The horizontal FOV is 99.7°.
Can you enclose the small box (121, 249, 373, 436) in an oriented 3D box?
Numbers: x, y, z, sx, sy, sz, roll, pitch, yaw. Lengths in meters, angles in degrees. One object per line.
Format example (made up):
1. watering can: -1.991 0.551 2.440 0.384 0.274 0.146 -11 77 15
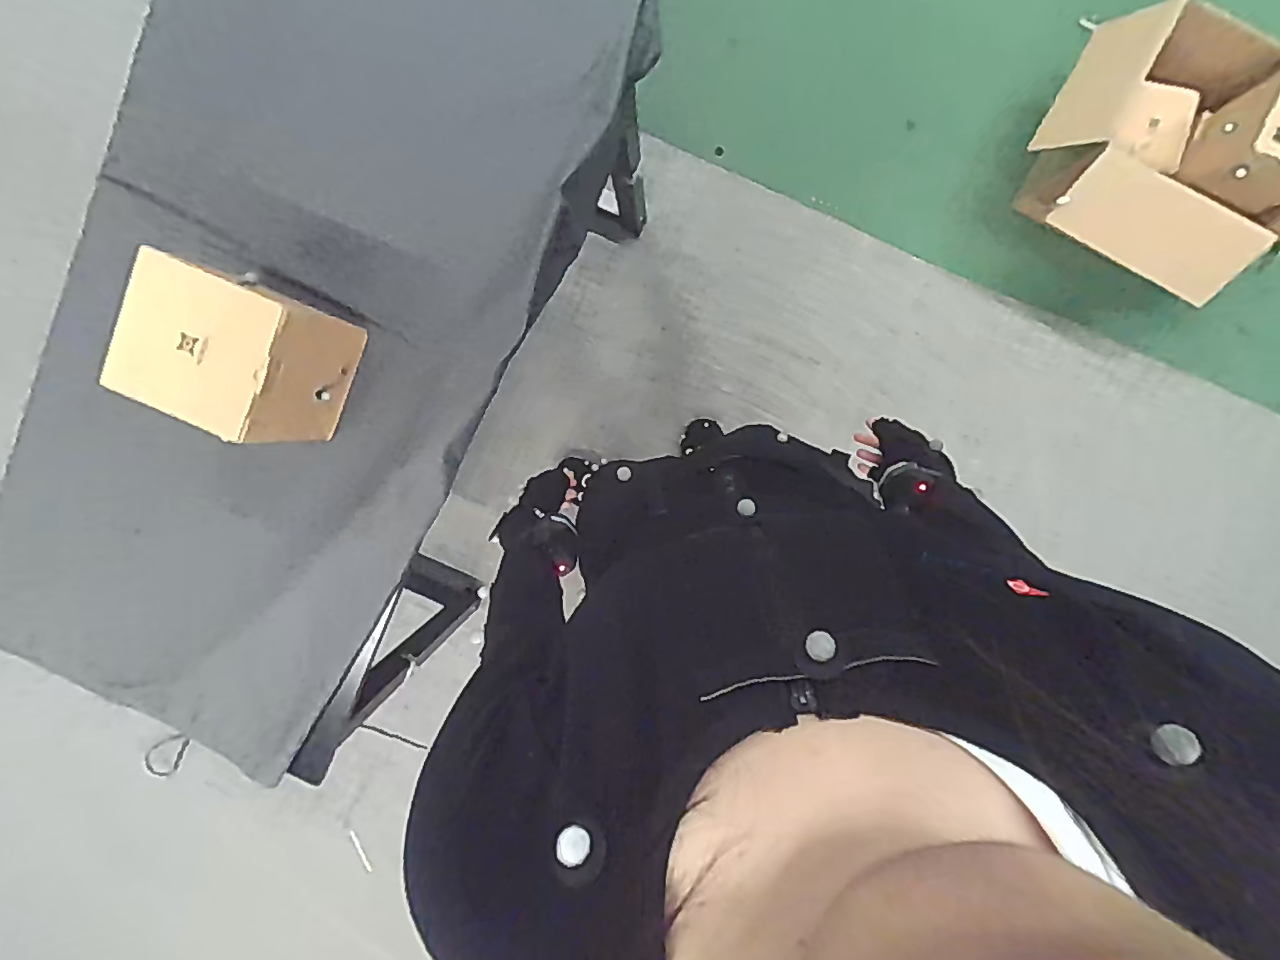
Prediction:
1. small box: -0.490 -0.163 0.699 0.179 0.176 0.168 23 96 0
